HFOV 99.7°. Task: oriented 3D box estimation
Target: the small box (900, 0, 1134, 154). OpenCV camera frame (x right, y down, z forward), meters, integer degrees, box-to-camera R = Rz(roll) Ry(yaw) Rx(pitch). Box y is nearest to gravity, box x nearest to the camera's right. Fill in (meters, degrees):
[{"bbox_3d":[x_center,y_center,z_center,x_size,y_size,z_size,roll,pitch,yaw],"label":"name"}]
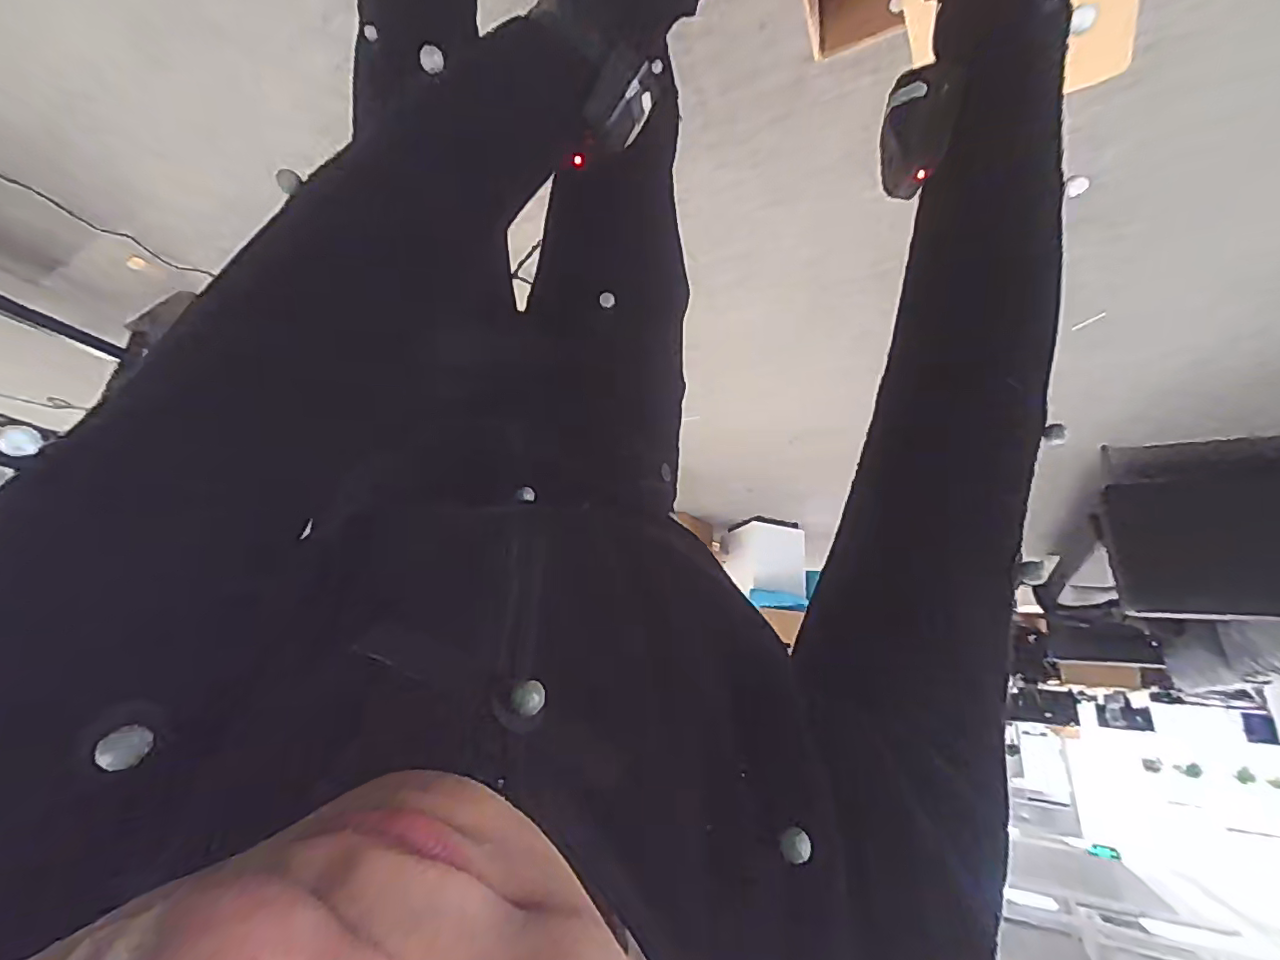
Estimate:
[{"bbox_3d":[0.342,-0.466,0.507,0.168,0.176,0.179,-8,155,33],"label":"small box"}]
